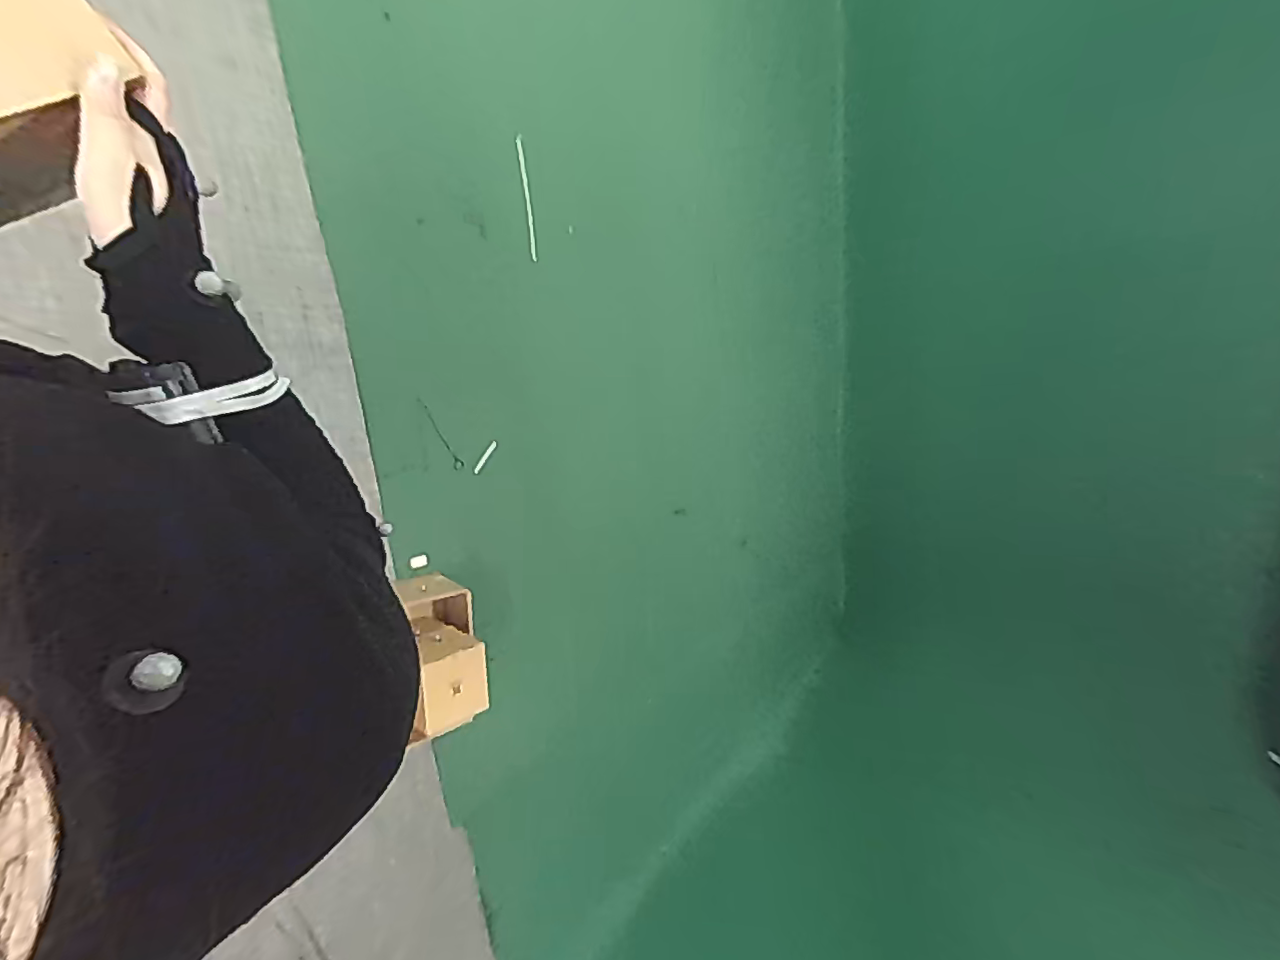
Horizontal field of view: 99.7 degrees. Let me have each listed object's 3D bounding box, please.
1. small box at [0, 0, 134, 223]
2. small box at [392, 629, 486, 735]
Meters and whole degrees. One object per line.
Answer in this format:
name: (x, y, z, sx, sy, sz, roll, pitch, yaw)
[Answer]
small box: (-0.428, -0.239, 0.289, 0.179, 0.176, 0.168, -50, 125, -29)
small box: (-0.508, 0.498, 1.364, 0.168, 0.176, 0.179, -9, 100, -46)
